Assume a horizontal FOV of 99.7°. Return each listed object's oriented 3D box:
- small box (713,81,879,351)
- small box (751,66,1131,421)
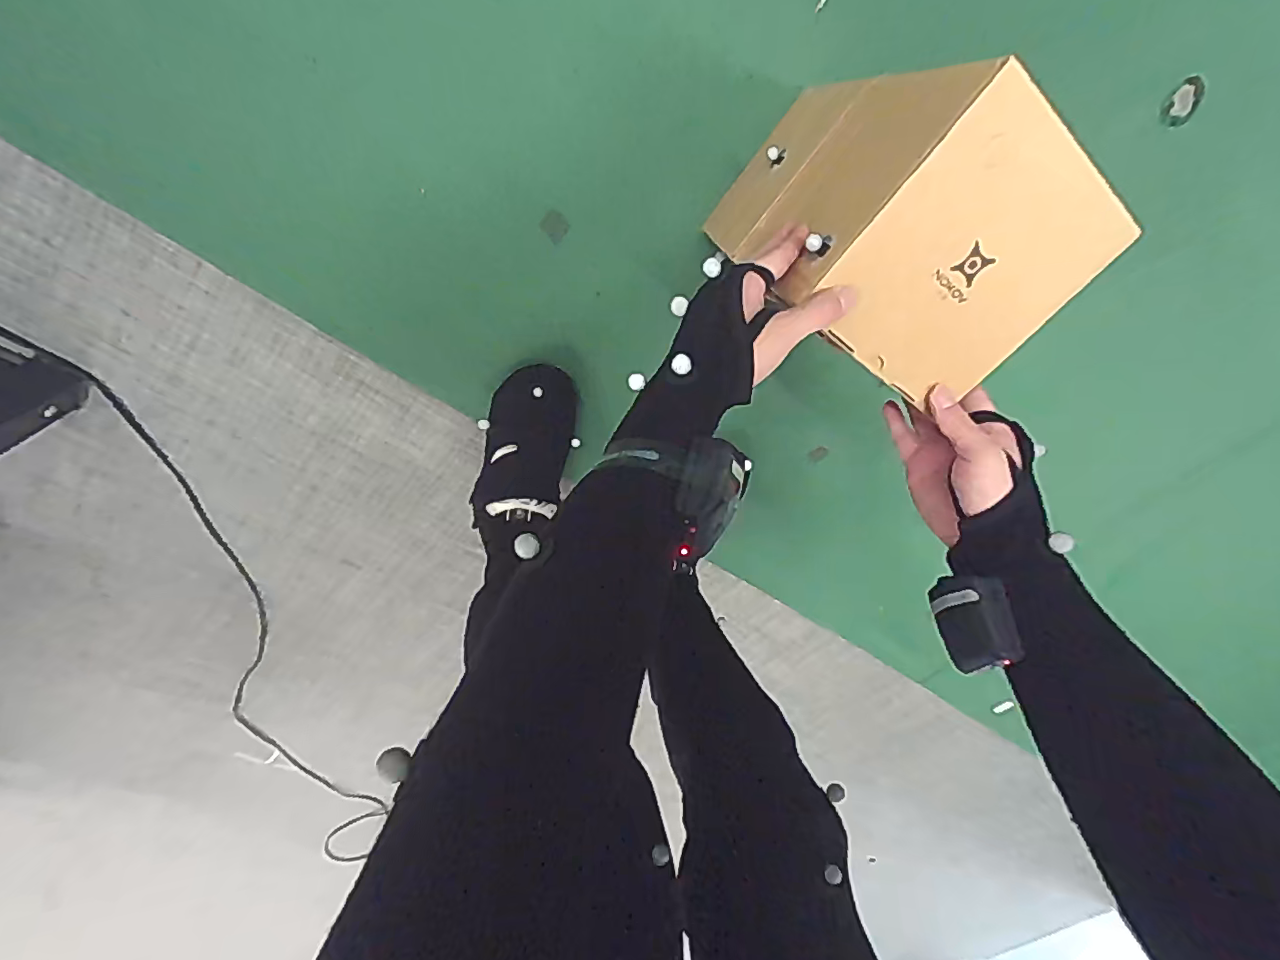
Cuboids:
[{"bbox_3d":[0.194,-0.276,0.574,0.168,0.176,0.179,30,116,-24],"label":"small box"},{"bbox_3d":[0.217,-0.188,0.439,0.168,0.176,0.179,29,117,-23],"label":"small box"}]
